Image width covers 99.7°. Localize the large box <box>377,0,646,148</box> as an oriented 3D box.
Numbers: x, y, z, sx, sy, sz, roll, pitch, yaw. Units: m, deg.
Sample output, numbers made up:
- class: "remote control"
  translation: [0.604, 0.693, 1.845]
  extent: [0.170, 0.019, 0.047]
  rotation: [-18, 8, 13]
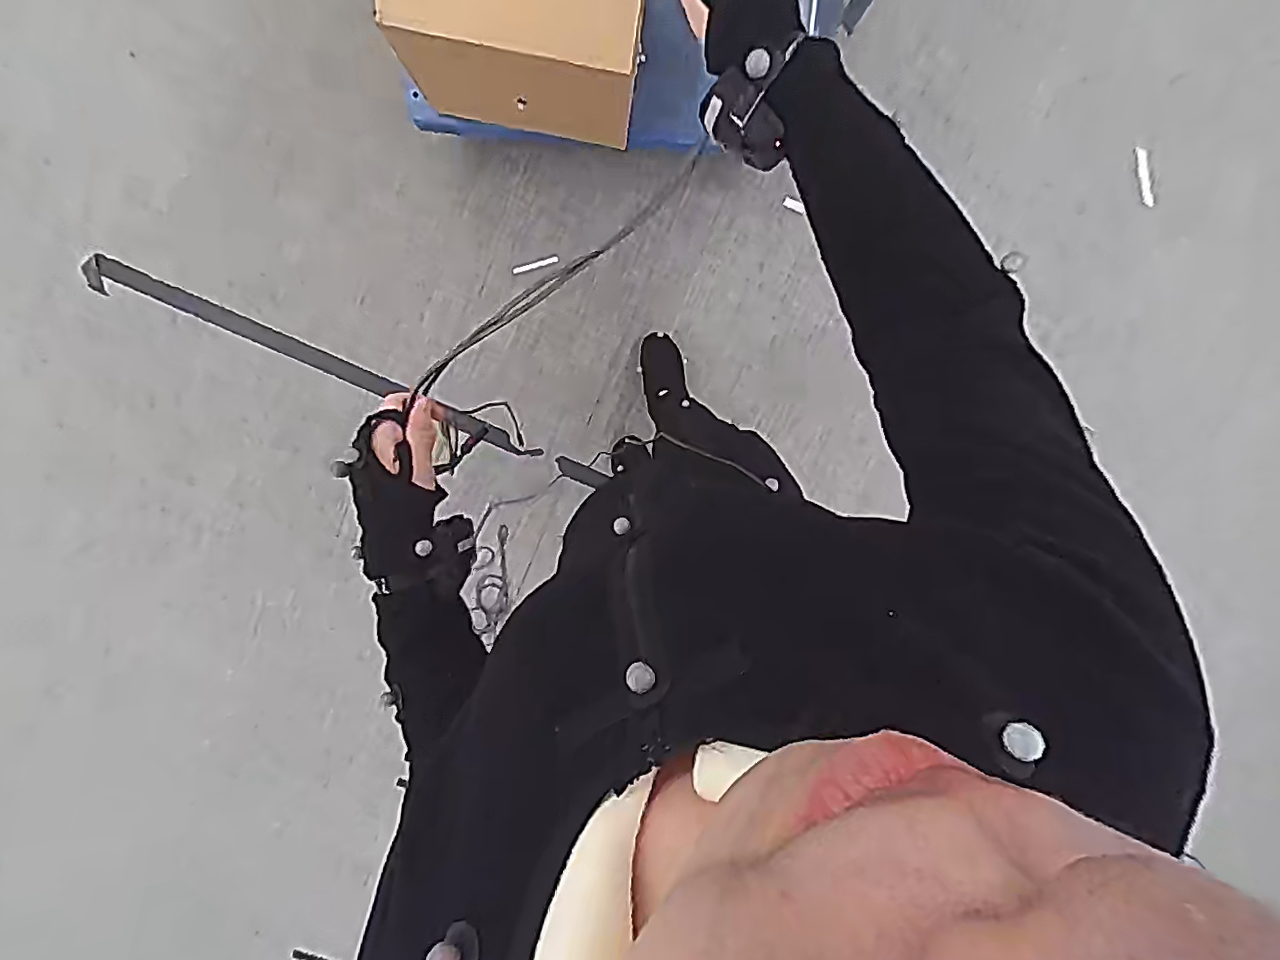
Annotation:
- class: "large box"
  translation: [-0.195, -0.845, 0.966]
  extent: [0.408, 0.320, 0.320]
  rotation: [8, 100, -5]
